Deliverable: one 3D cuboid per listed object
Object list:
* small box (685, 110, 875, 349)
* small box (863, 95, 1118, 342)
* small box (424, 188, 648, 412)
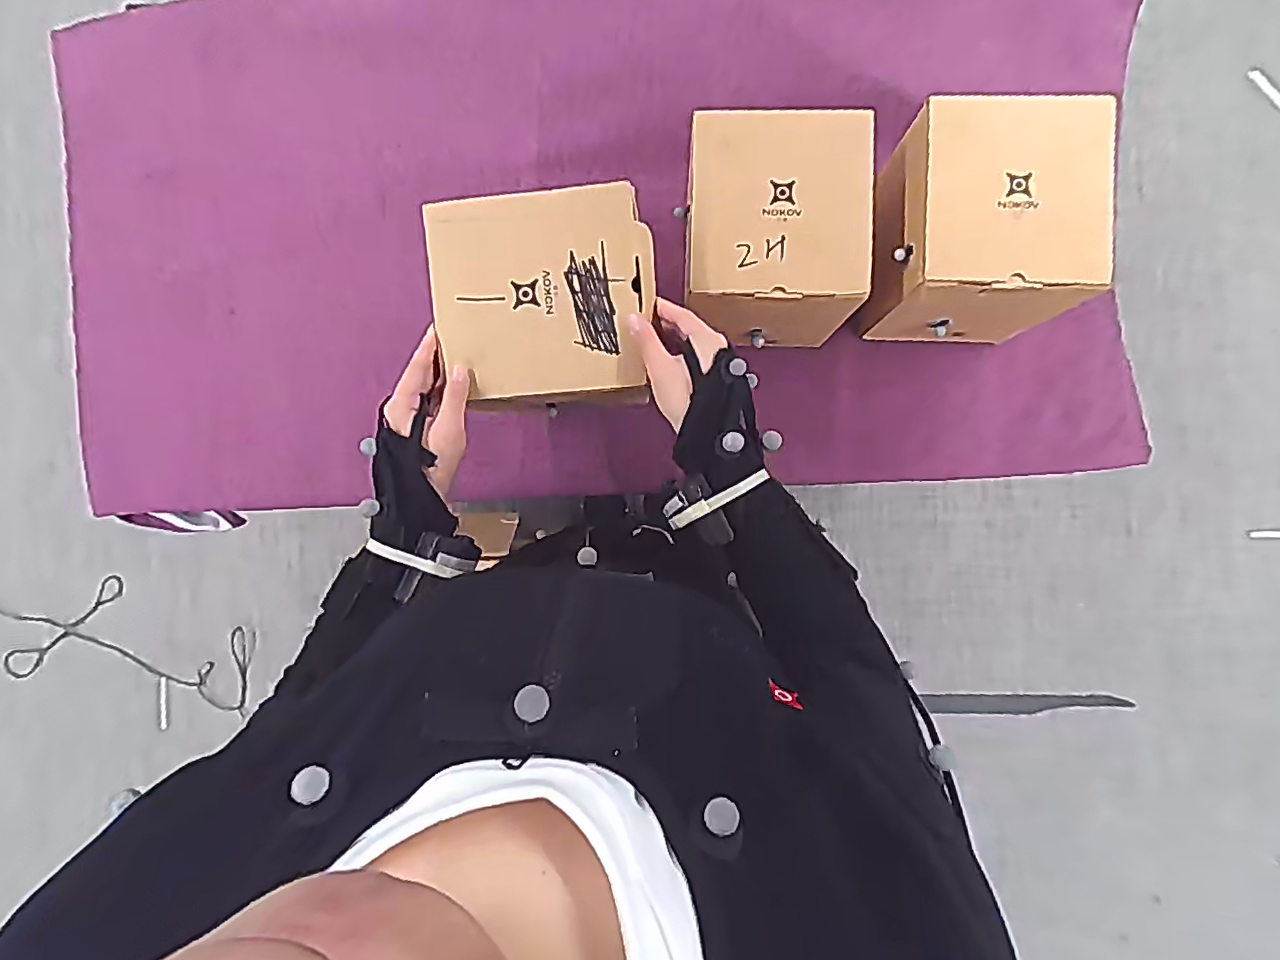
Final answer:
[{"bbox_3d":[0.134,-0.251,0.574,0.168,0.176,0.179,2,89,3],"label":"small box"},{"bbox_3d":[0.344,-0.256,0.563,0.168,0.176,0.179,2,88,4],"label":"small box"},{"bbox_3d":[-0.084,-0.157,0.526,0.179,0.176,0.168,-4,93,2],"label":"small box"}]
